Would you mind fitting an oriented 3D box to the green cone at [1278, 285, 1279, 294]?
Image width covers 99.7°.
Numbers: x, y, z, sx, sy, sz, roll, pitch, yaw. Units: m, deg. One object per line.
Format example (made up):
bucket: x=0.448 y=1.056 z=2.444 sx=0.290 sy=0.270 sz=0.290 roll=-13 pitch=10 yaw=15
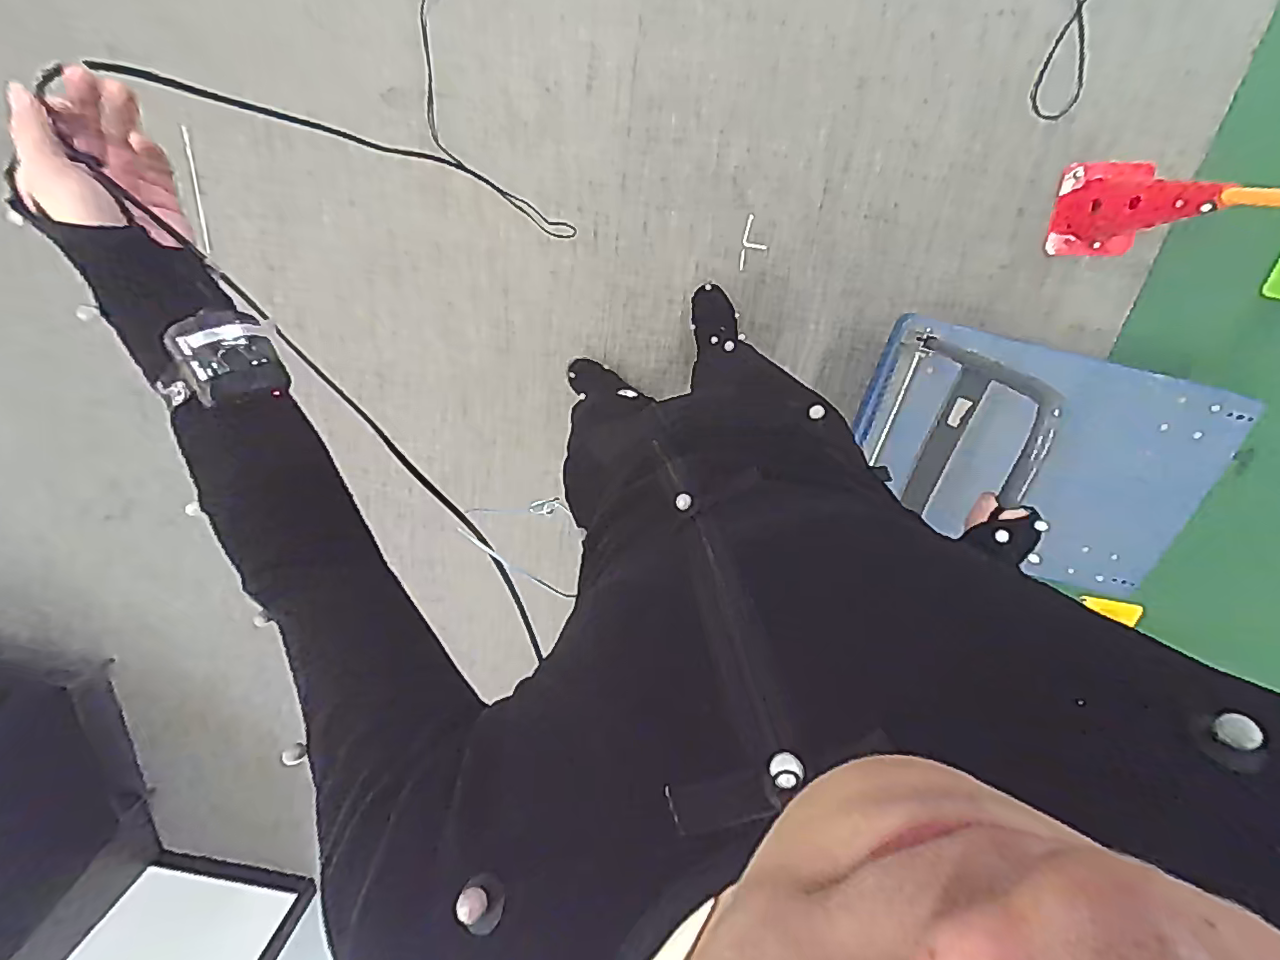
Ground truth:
green cone: x=1.613 y=-0.454 z=1.098 sx=0.202 sy=0.368 sz=0.200 roll=9 pitch=112 yaw=2
